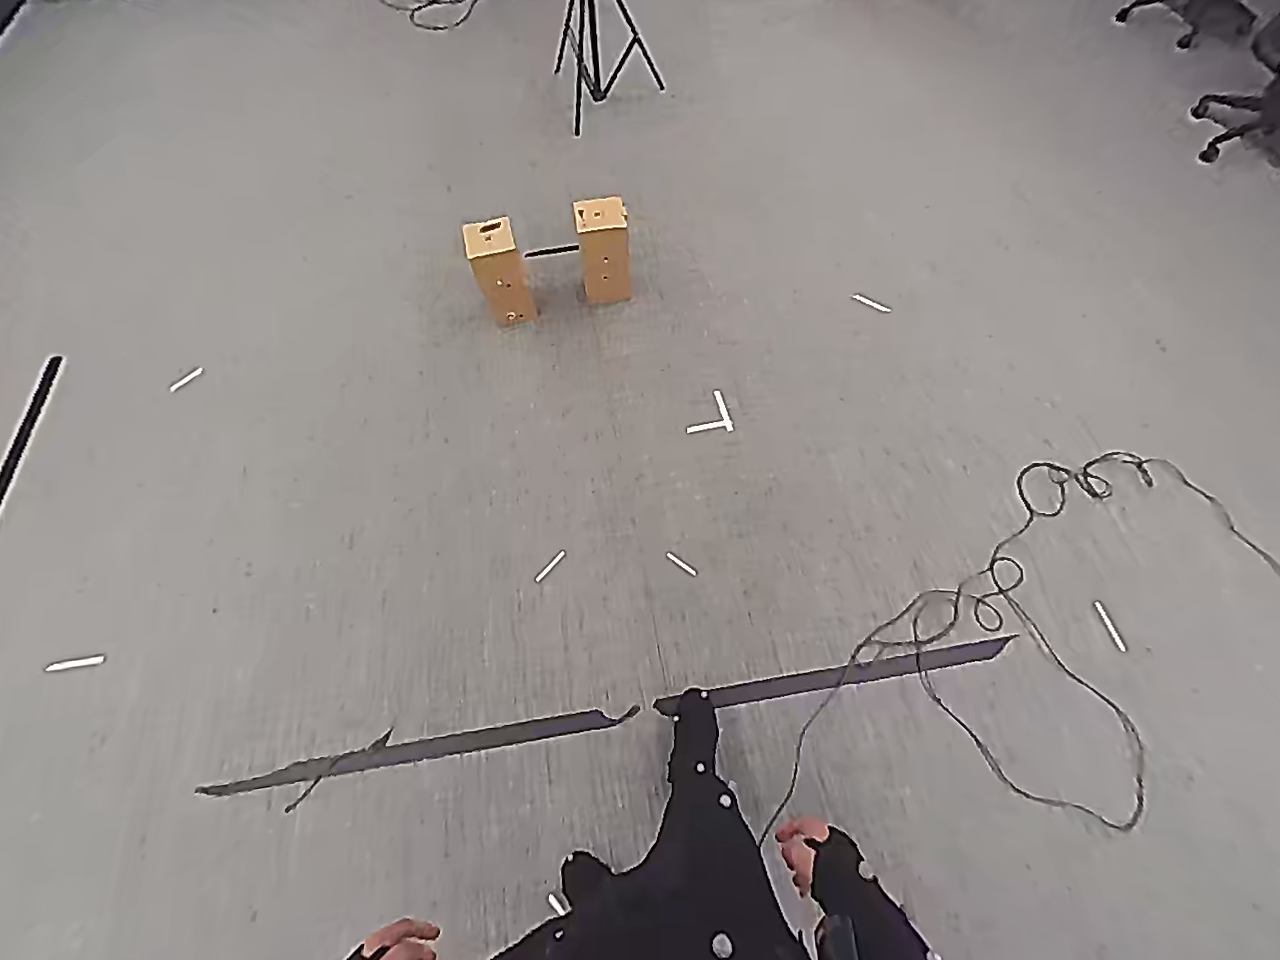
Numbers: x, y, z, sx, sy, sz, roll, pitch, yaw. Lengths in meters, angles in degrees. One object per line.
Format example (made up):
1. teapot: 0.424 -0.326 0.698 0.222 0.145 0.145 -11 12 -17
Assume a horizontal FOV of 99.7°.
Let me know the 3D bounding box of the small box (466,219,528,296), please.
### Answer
1. small box: -0.507 -0.791 1.927 0.168 0.176 0.179 -14 64 -5

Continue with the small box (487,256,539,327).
1. small box: -0.496 -0.722 2.075 0.168 0.176 0.179 -15 63 -6

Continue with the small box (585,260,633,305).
1. small box: -0.125 -0.806 2.109 0.179 0.176 0.168 -8 63 -4

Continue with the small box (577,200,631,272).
1. small box: -0.129 -0.883 1.964 0.179 0.176 0.168 -7 62 -3
